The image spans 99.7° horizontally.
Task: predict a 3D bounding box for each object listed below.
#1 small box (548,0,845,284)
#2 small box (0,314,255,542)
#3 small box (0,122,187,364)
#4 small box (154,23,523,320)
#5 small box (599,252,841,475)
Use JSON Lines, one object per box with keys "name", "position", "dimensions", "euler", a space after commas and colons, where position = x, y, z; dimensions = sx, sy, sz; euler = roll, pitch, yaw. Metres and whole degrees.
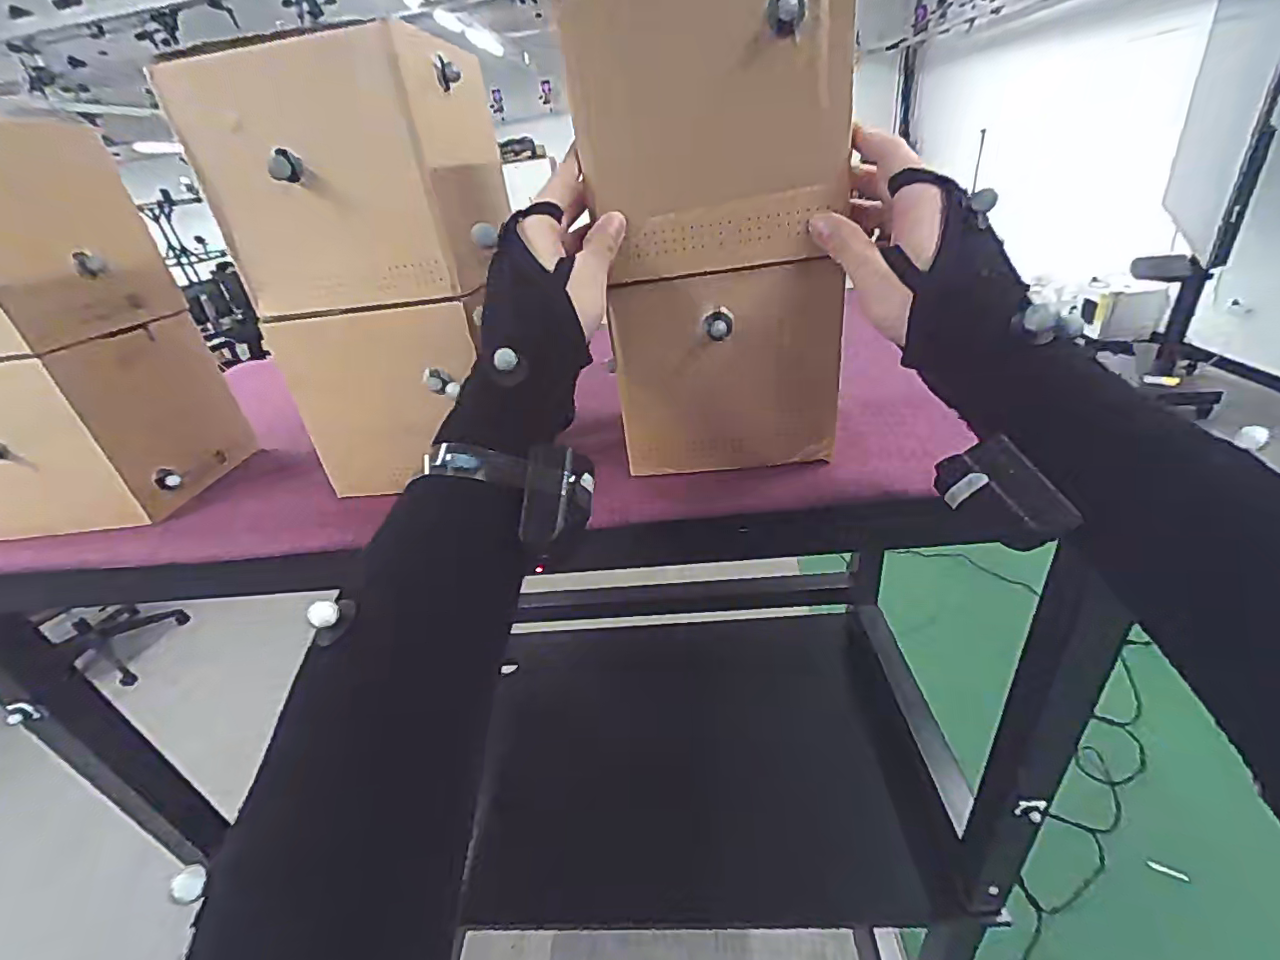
{"name": "small box", "position": [0.049, -0.251, 0.407], "dimensions": [0.179, 0.176, 0.168], "euler": [-4, 30, 8]}
{"name": "small box", "position": [-0.548, -0.055, 0.548], "dimensions": [0.179, 0.176, 0.168], "euler": [-7, 29, 5]}
{"name": "small box", "position": [-0.567, -0.198, 0.468], "dimensions": [0.179, 0.176, 0.168], "euler": [-5, 30, 5]}
{"name": "small box", "position": [-0.218, -0.238, 0.448], "dimensions": [0.179, 0.176, 0.168], "euler": [-5, 30, 8]}
{"name": "small box", "position": [0.074, -0.114, 0.489], "dimensions": [0.179, 0.176, 0.168], "euler": [-4, 30, 8]}
